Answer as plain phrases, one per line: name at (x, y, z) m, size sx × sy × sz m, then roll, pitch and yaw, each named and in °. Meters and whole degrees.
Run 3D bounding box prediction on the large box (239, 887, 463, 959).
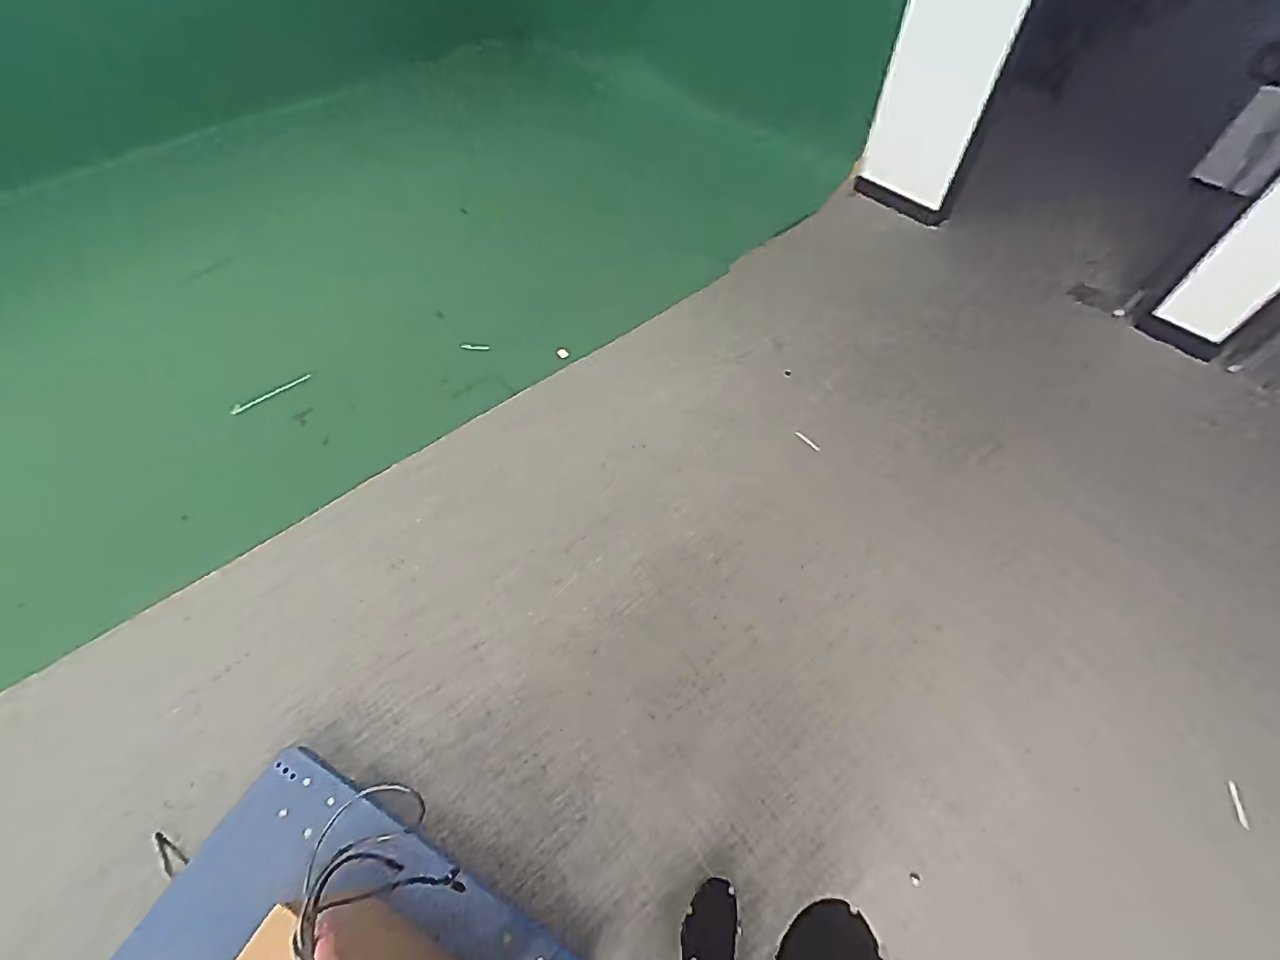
large box at (-0.481, 0.961, 0.891) m, size 0.408 × 0.320 × 0.320 m, roll 23°, pitch 60°, yaw 17°
